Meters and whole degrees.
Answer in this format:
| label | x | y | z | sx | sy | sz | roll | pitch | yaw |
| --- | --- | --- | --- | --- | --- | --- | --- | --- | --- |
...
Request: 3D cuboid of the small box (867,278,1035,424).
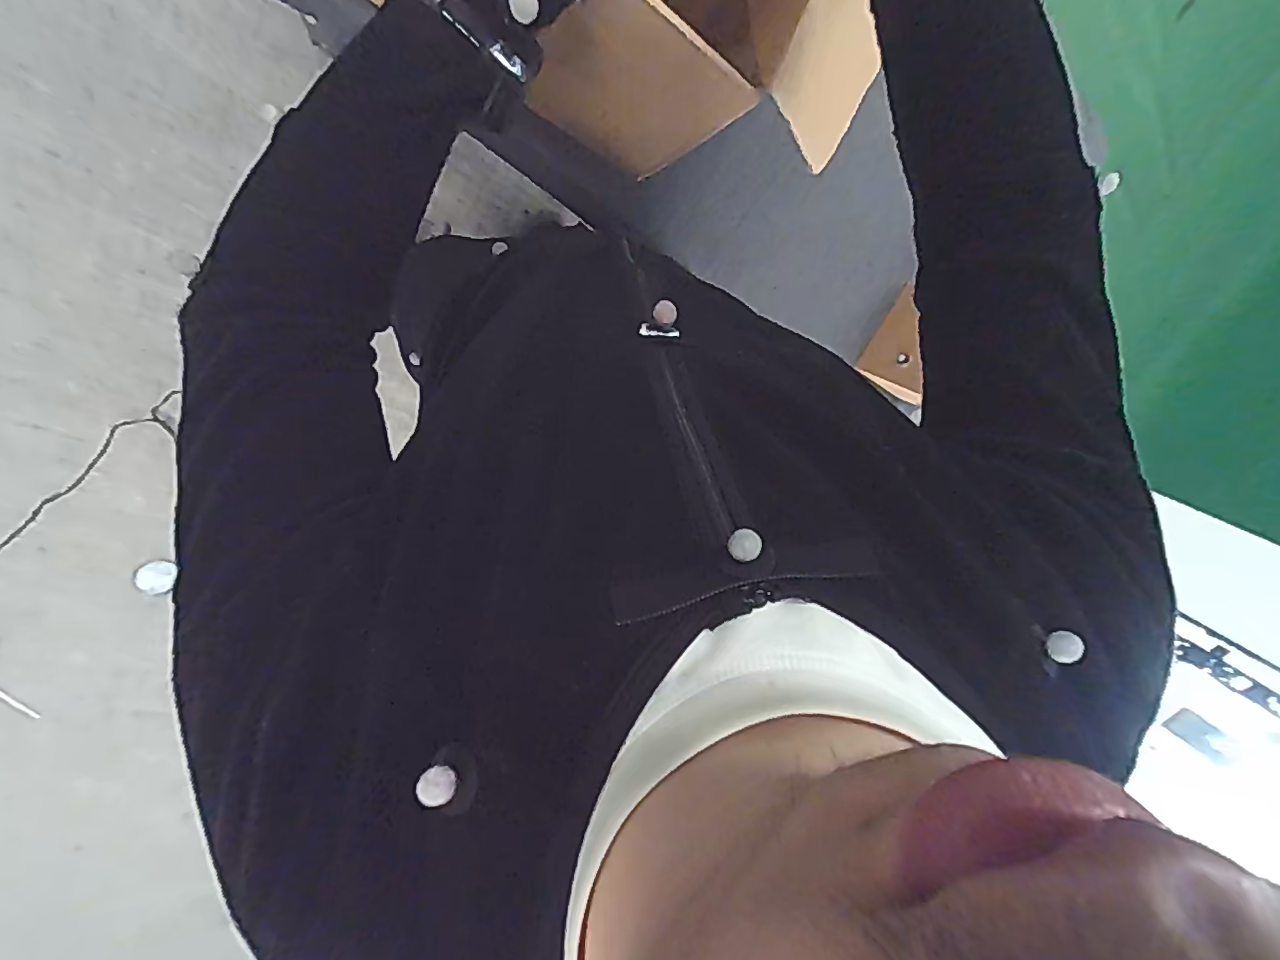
| label | x | y | z | sx | sy | sz | roll | pitch | yaw |
| --- | --- | --- | --- | --- | --- | --- | --- | --- | --- |
| small box | 0.537 | -0.231 | 0.959 | 0.168 | 0.176 | 0.179 | 18 | 108 | -34 |
